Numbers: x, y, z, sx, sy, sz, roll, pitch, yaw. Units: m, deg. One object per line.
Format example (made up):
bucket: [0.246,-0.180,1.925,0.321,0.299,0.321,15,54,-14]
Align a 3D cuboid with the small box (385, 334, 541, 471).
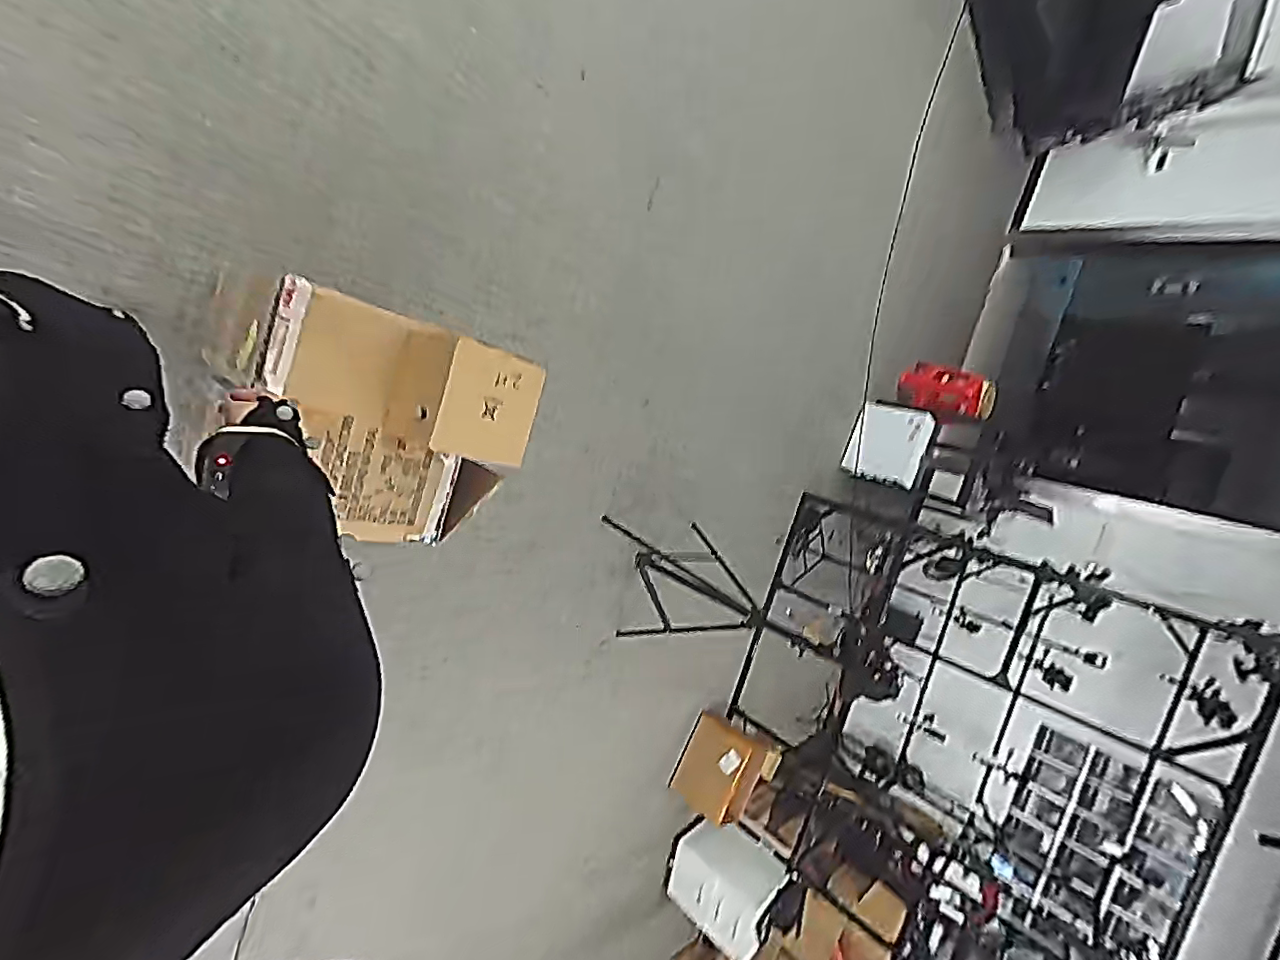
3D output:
small box: [-0.299,-0.129,0.899,0.168,0.176,0.179,15,91,-49]
